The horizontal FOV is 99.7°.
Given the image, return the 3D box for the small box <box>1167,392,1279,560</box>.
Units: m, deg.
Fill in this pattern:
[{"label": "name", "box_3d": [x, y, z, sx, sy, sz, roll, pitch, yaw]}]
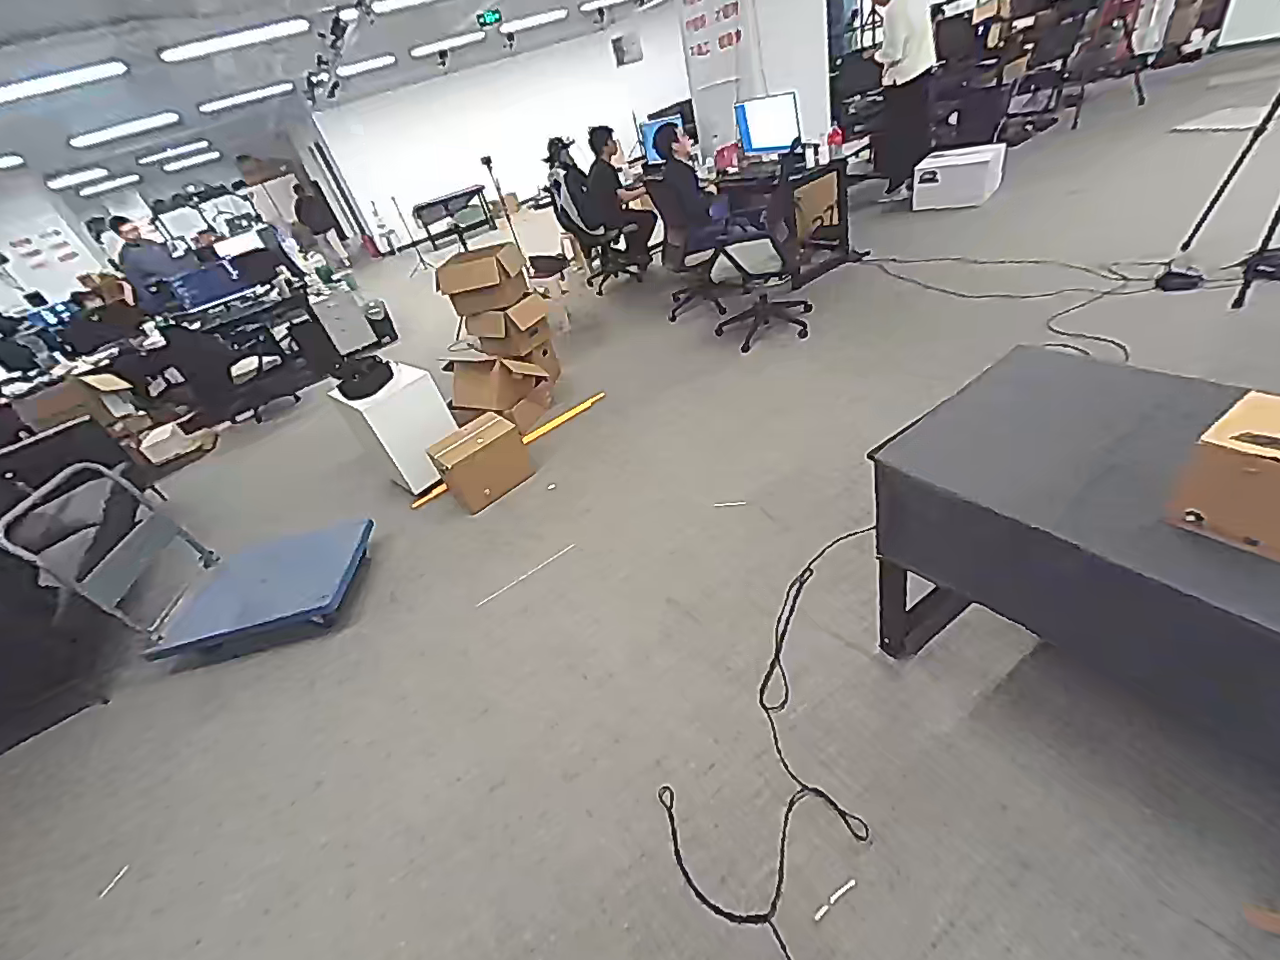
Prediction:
[{"label": "small box", "box_3d": [0.963, -0.006, 0.829, 0.179, 0.176, 0.168, -31, 37, -18]}]
